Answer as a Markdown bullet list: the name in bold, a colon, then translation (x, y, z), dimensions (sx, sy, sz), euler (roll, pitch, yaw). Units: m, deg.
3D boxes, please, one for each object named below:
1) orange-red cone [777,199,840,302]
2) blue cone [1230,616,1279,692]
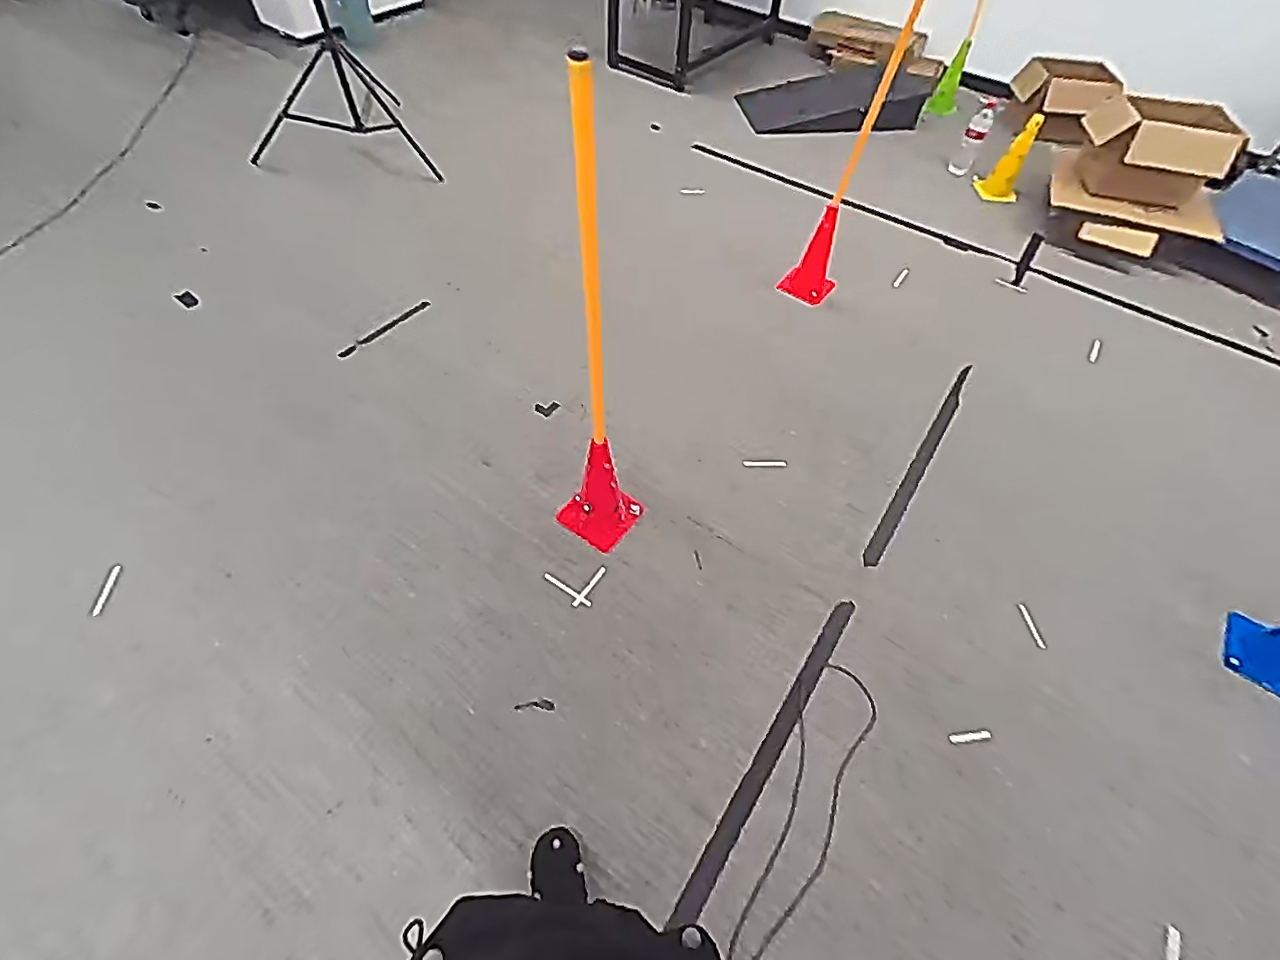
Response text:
- **orange-red cone**: translation (0.712, -0.929, 2.140), dimensions (0.198, 0.360, 0.199), euler (35, 60, 18)
- **blue cone**: translation (1.721, 0.389, 1.331), dimensions (0.193, 0.380, 0.192), euler (34, 61, 19)
